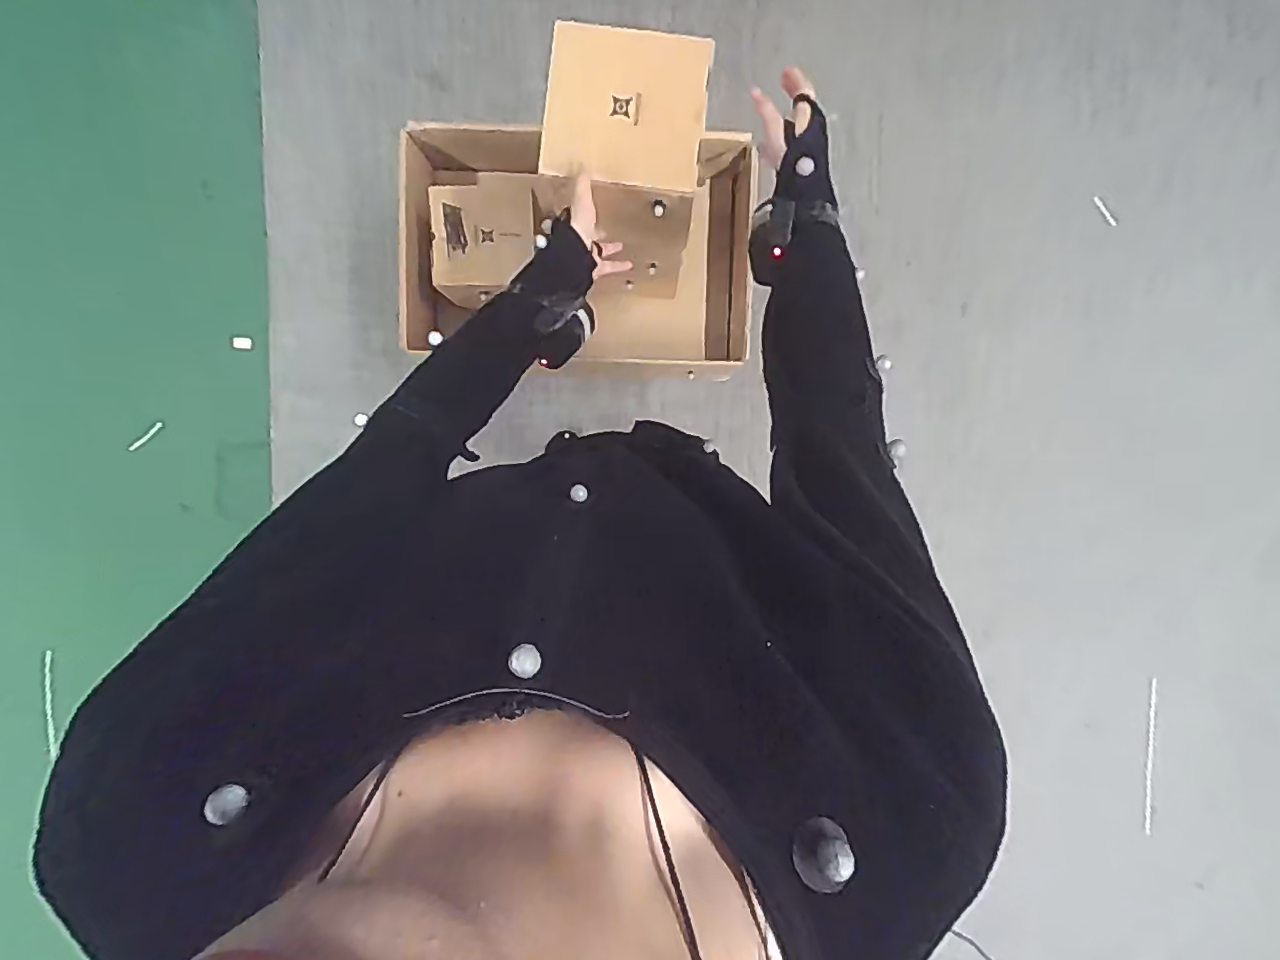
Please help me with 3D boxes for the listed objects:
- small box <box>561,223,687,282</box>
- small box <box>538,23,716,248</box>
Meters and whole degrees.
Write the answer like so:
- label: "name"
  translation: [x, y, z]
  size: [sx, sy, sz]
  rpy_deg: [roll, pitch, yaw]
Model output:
- label: "small box"
  translation: [-0.013, -0.412, 0.823]
  size: [0.179, 0.176, 0.168]
  rpy_deg: [6, 94, 2]
- label: "small box"
  translation: [-0.013, -0.403, 0.662]
  size: [0.179, 0.176, 0.168]
  rpy_deg: [7, 93, 1]
